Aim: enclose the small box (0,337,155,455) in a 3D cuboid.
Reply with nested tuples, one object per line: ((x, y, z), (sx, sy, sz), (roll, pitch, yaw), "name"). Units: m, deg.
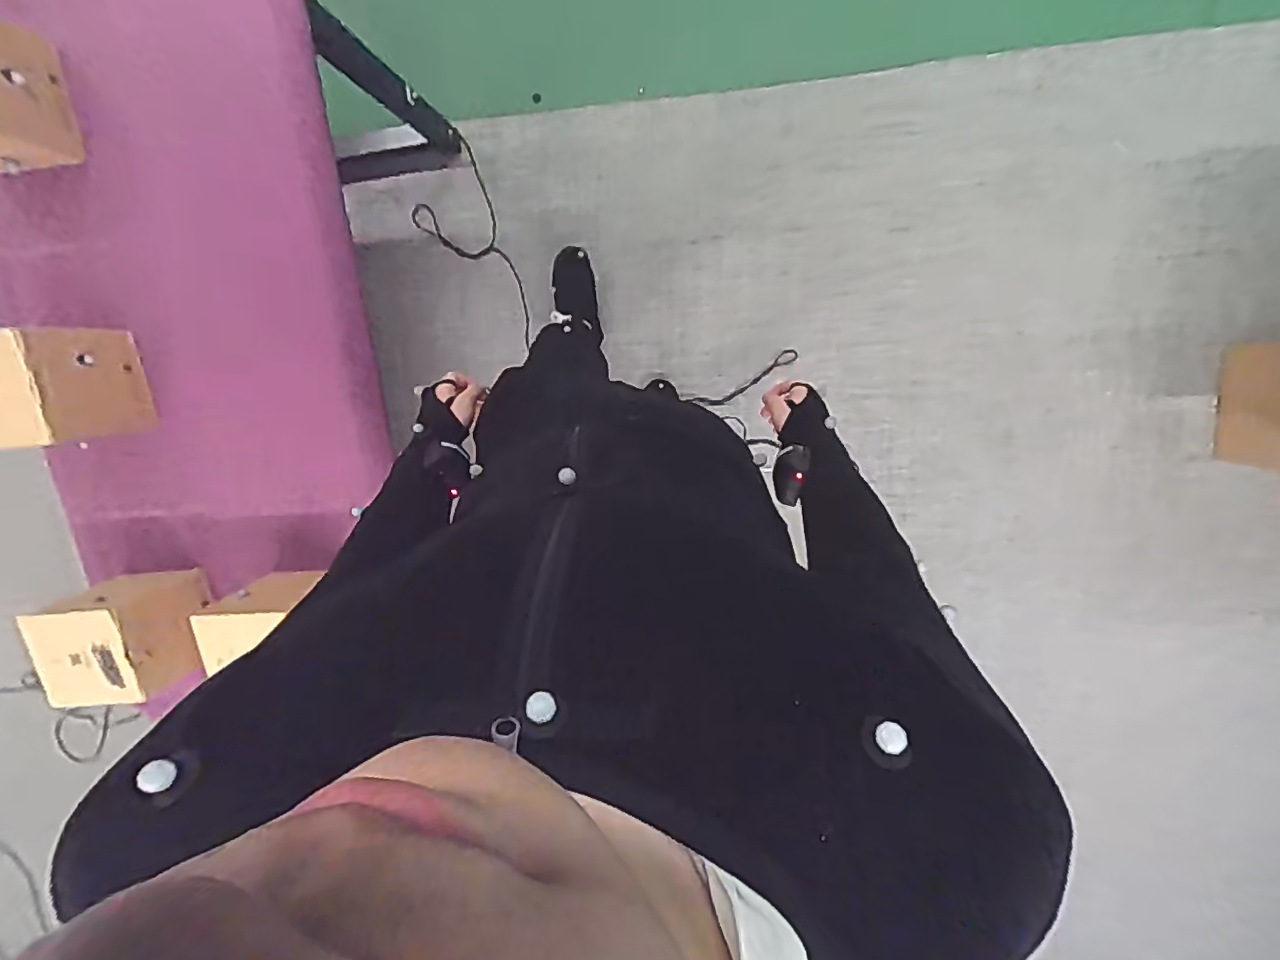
((-0.926, -0.136, 0.856), (0.179, 0.176, 0.168), (-4, 102, 7), "small box")

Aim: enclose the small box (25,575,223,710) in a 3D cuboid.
((-0.878, 0.275, 0.945), (0.179, 0.176, 0.168), (-6, 102, 7), "small box")
